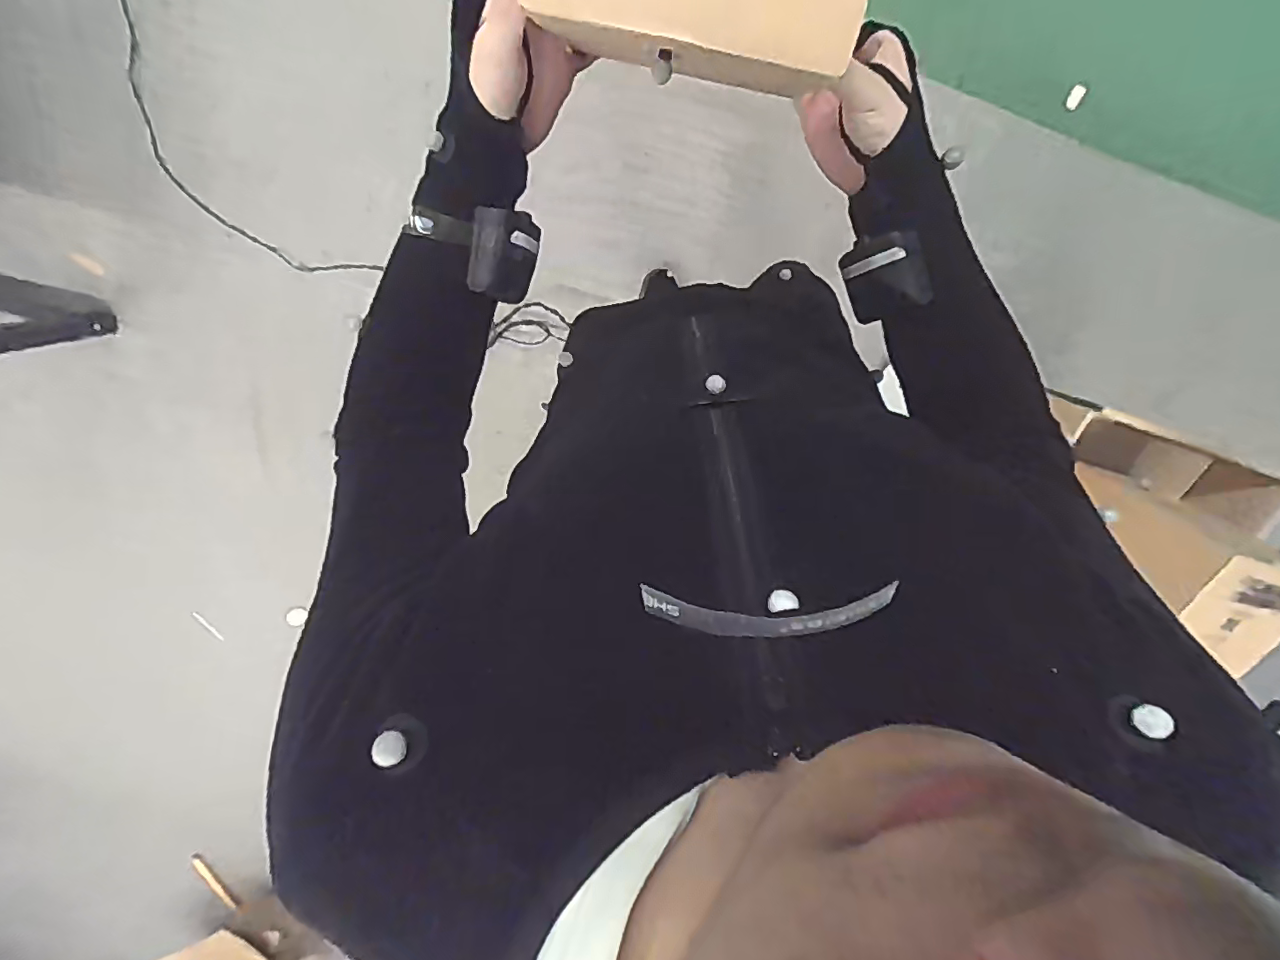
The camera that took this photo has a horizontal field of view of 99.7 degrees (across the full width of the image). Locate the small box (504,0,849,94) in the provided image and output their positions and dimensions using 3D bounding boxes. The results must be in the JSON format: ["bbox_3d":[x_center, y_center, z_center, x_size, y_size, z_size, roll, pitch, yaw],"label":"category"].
[{"bbox_3d":[0.035,-0.335,0.307,0.179,0.176,0.168,11,123,-1],"label":"small box"}]
